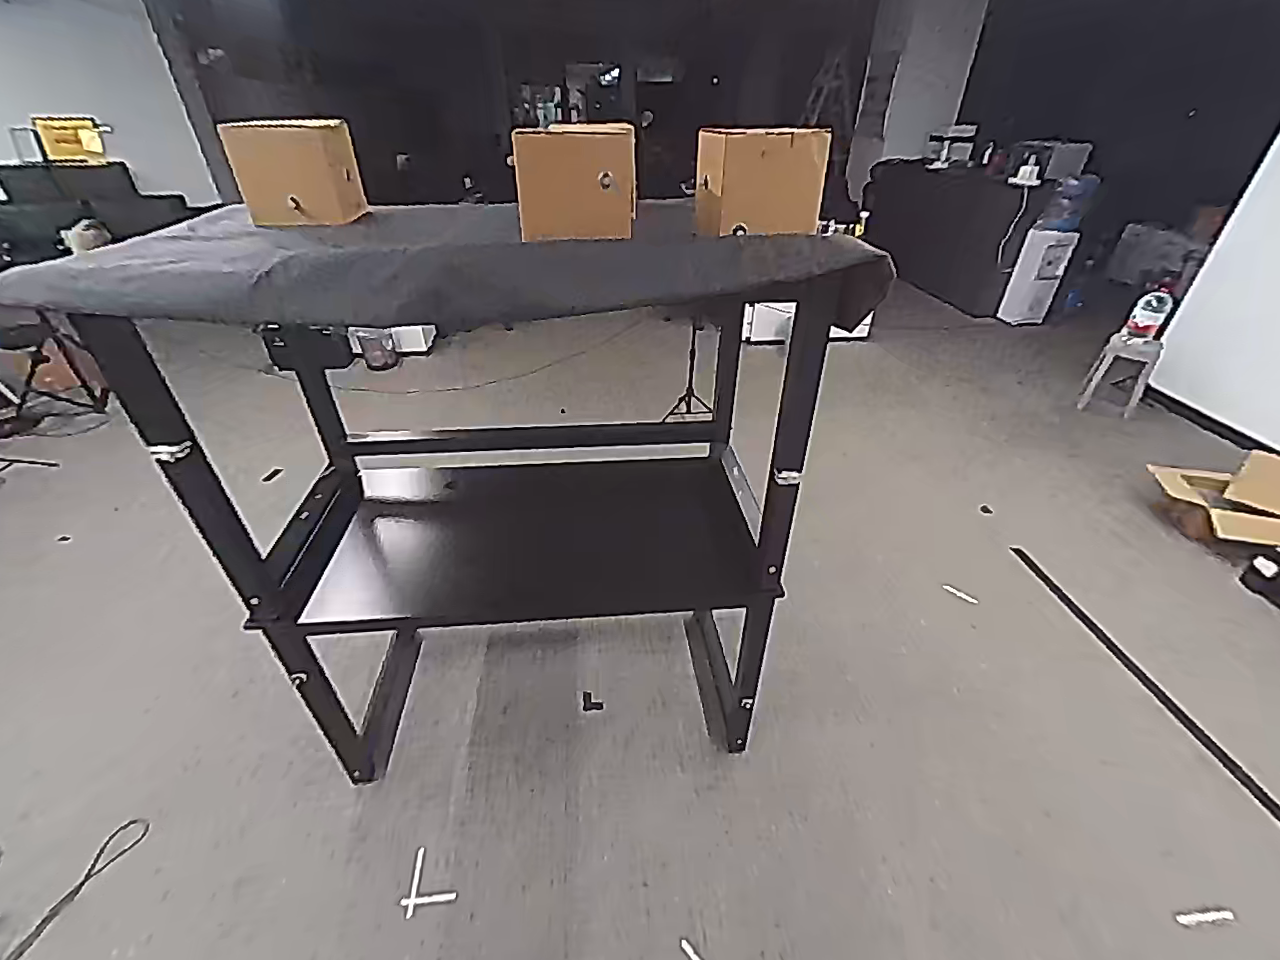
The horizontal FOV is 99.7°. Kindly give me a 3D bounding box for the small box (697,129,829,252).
[{"bbox_3d":[0.195,-0.486,0.910,0.168,0.176,0.179,-5,34,-7],"label":"small box"}]

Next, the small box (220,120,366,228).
[{"bbox_3d":[-0.672,-0.608,1.076,0.179,0.176,0.168,-3,35,-7],"label":"small box"}]

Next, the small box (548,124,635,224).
[{"bbox_3d":[-0.099,-0.642,1.135,0.168,0.176,0.179,-3,35,-5],"label":"small box"}]
